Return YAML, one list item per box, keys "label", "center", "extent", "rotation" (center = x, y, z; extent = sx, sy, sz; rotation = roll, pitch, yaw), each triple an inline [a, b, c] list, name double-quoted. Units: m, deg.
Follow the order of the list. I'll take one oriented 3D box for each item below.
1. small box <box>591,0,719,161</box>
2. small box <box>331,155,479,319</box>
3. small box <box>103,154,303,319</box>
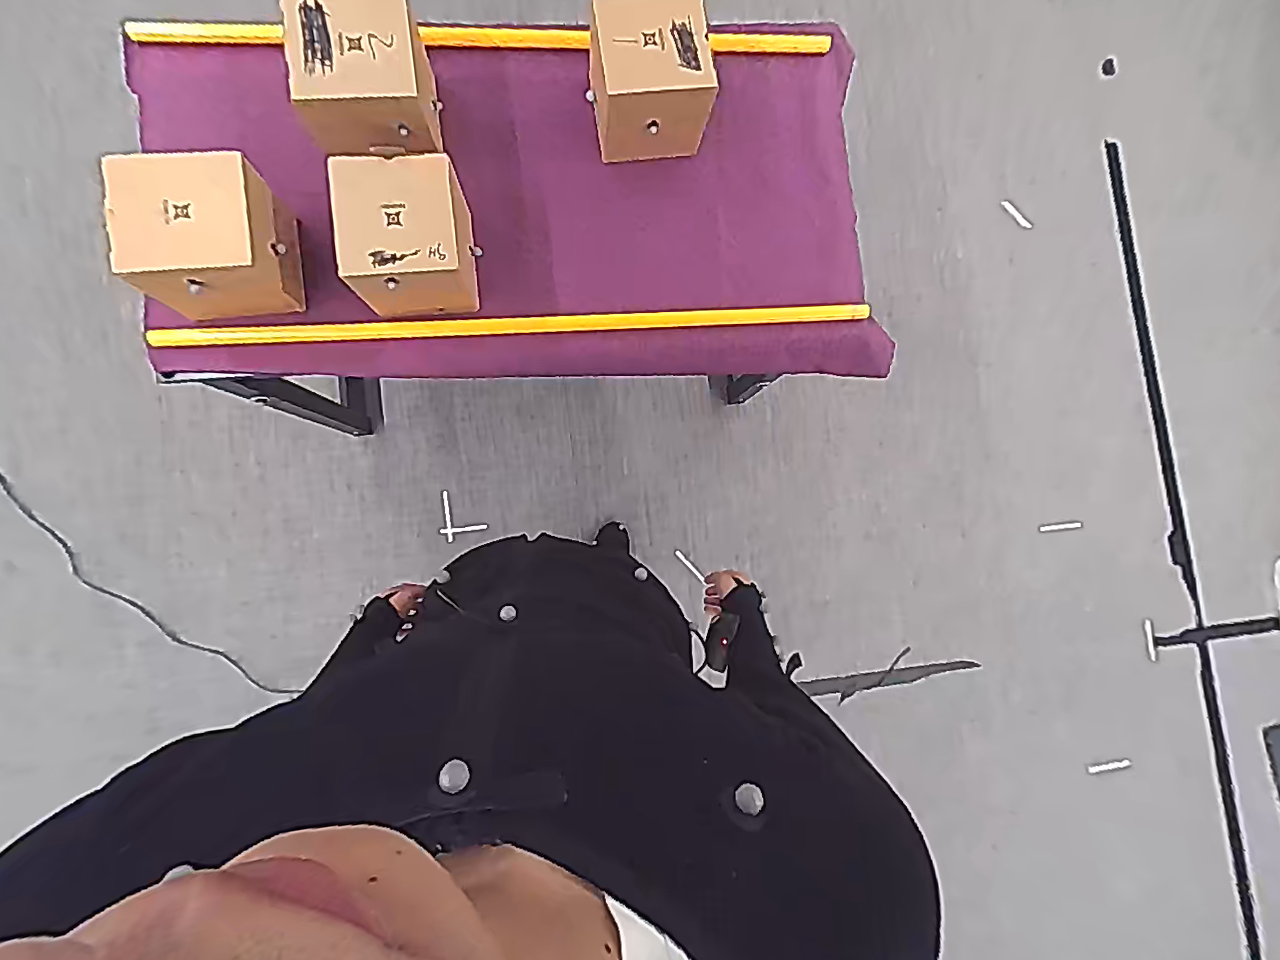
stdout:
- label: "small box"
  center: [0.016, -0.662, 0.896]
  extent: [0.179, 0.176, 0.168]
  rotation: [-9, 88, -5]
- label: "small box"
  center: [-0.353, -0.367, 0.839]
  extent: [0.168, 0.176, 0.179]
  rotation: [-6, 87, -6]
- label: "small box"
  center: [-0.631, -0.353, 0.808]
  extent: [0.179, 0.176, 0.168]
  rotation: [-7, 87, -7]
